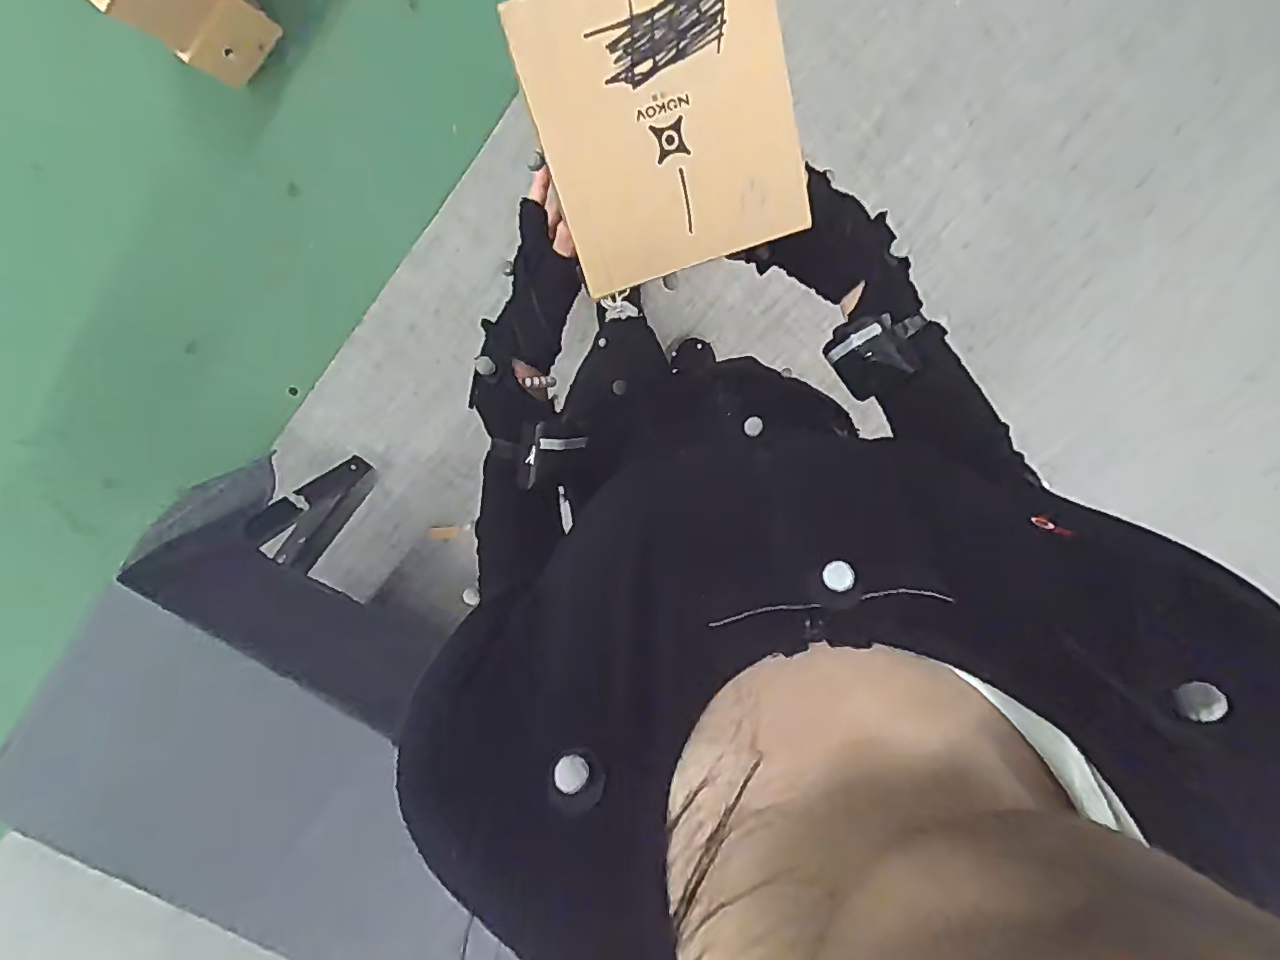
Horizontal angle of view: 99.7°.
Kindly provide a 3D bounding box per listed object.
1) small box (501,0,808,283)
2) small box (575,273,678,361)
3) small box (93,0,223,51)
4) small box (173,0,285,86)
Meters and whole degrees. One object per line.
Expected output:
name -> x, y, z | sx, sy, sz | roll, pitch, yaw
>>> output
small box -> 0.007, -0.263, 0.420 | 0.168, 0.176, 0.179 | -18, 111, 1
small box -> -0.037, -0.409, 1.316 | 0.179, 0.176, 0.168 | 36, 116, 6
small box -> -0.888, -0.919, 0.952 | 0.179, 0.176, 0.168 | -43, 103, 13
small box -> -0.887, -0.958, 1.112 | 0.168, 0.176, 0.179 | -42, 103, 12
